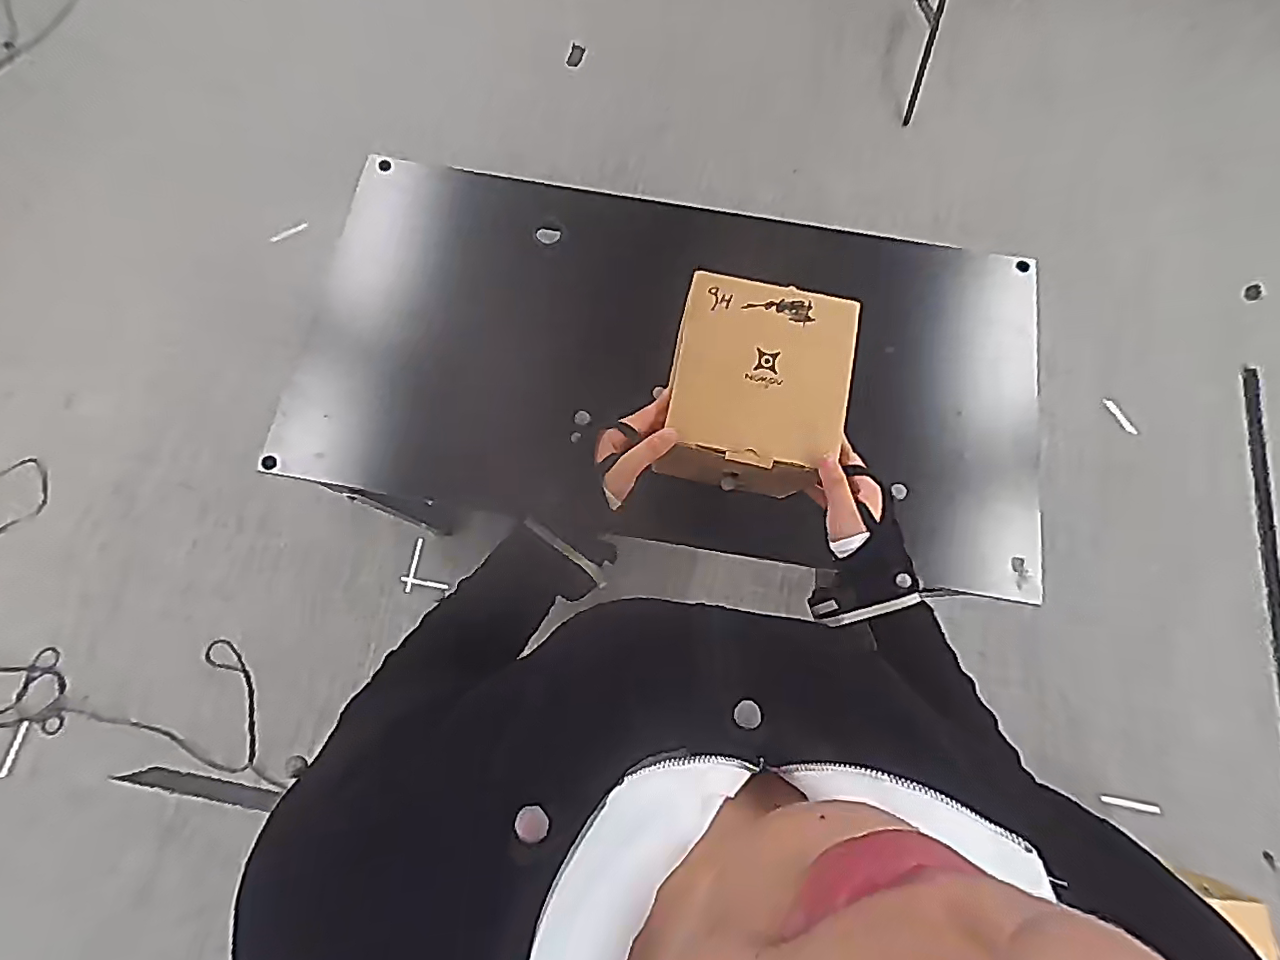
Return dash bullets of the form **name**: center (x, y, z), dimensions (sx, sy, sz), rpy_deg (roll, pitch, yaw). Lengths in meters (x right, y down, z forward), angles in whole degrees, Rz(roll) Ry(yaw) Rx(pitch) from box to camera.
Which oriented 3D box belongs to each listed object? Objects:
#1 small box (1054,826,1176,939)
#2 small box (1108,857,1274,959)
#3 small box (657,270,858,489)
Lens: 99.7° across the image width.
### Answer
- **small box**: center (1.126, 0.954, 1.285), dimensions (0.168, 0.176, 0.179), rpy_deg (7, 76, 1)
- **small box**: center (1.139, 0.916, 1.127), dimensions (0.179, 0.176, 0.168), rpy_deg (3, 75, 1)
- **small box**: center (0.113, -0.094, 0.590), dimensions (0.168, 0.176, 0.179), rpy_deg (11, 82, 0)
